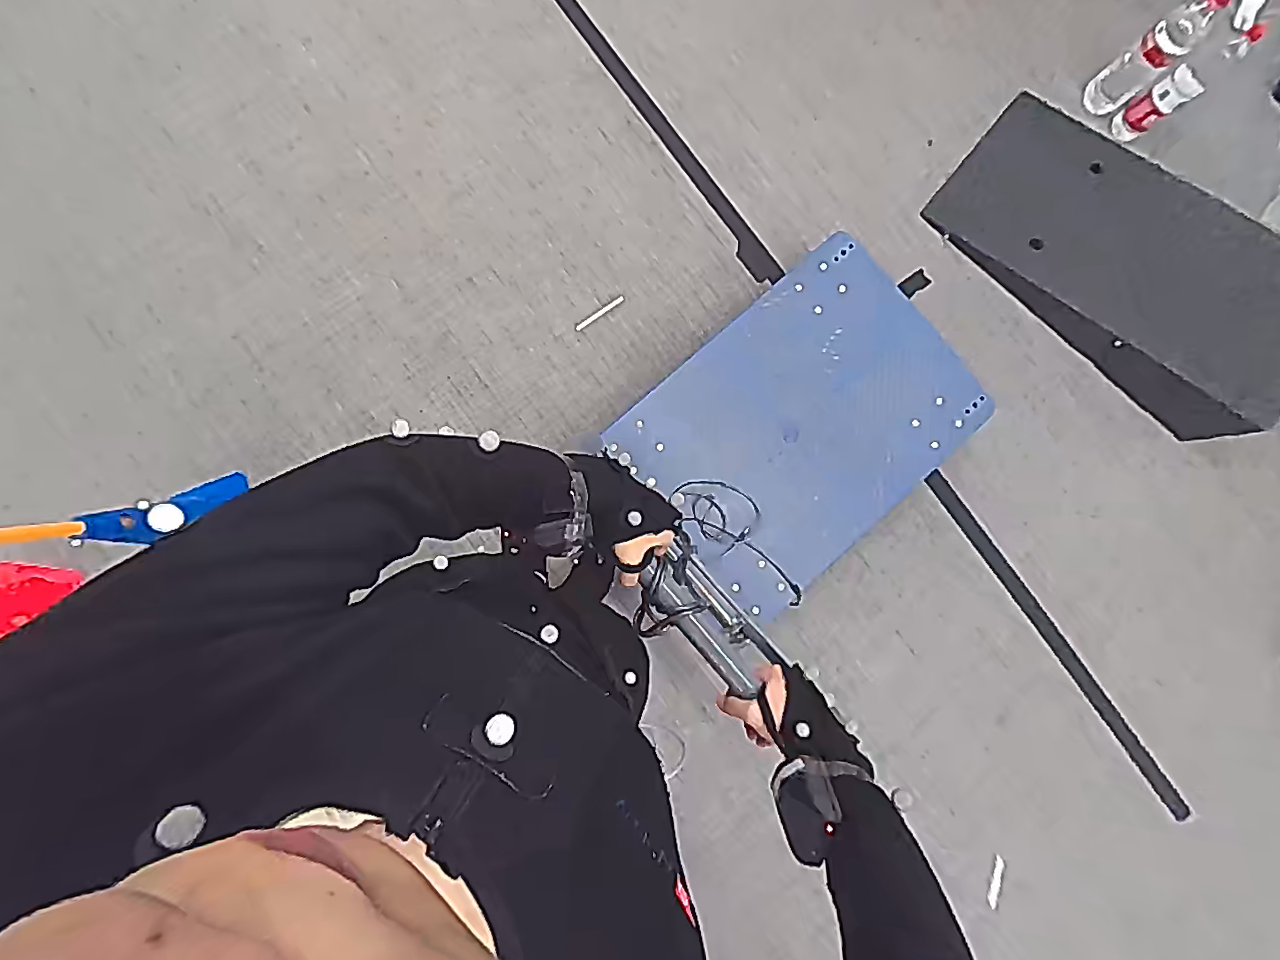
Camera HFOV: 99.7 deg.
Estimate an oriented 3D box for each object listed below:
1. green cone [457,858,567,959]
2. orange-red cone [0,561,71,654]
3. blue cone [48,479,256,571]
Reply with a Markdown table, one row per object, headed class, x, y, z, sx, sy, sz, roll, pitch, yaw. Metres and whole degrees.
| class | x | y | z | sx | sy | sz | roll | pitch | yaw |
| --- | --- | --- | --- | --- | --- | --- | --- | --- | --- |
| green cone | -0.295 | 1.026 | 1.119 | 0.200 | 0.368 | 0.202 | 40 | 86 | -1 |
| orange-red cone | -1.421 | 0.287 | 1.081 | 0.199 | 0.360 | 0.198 | 10 | 87 | -5 |
| blue cone | -1.024 | 0.097 | 1.135 | 0.192 | 0.380 | 0.193 | -21 | 89 | -4 |
